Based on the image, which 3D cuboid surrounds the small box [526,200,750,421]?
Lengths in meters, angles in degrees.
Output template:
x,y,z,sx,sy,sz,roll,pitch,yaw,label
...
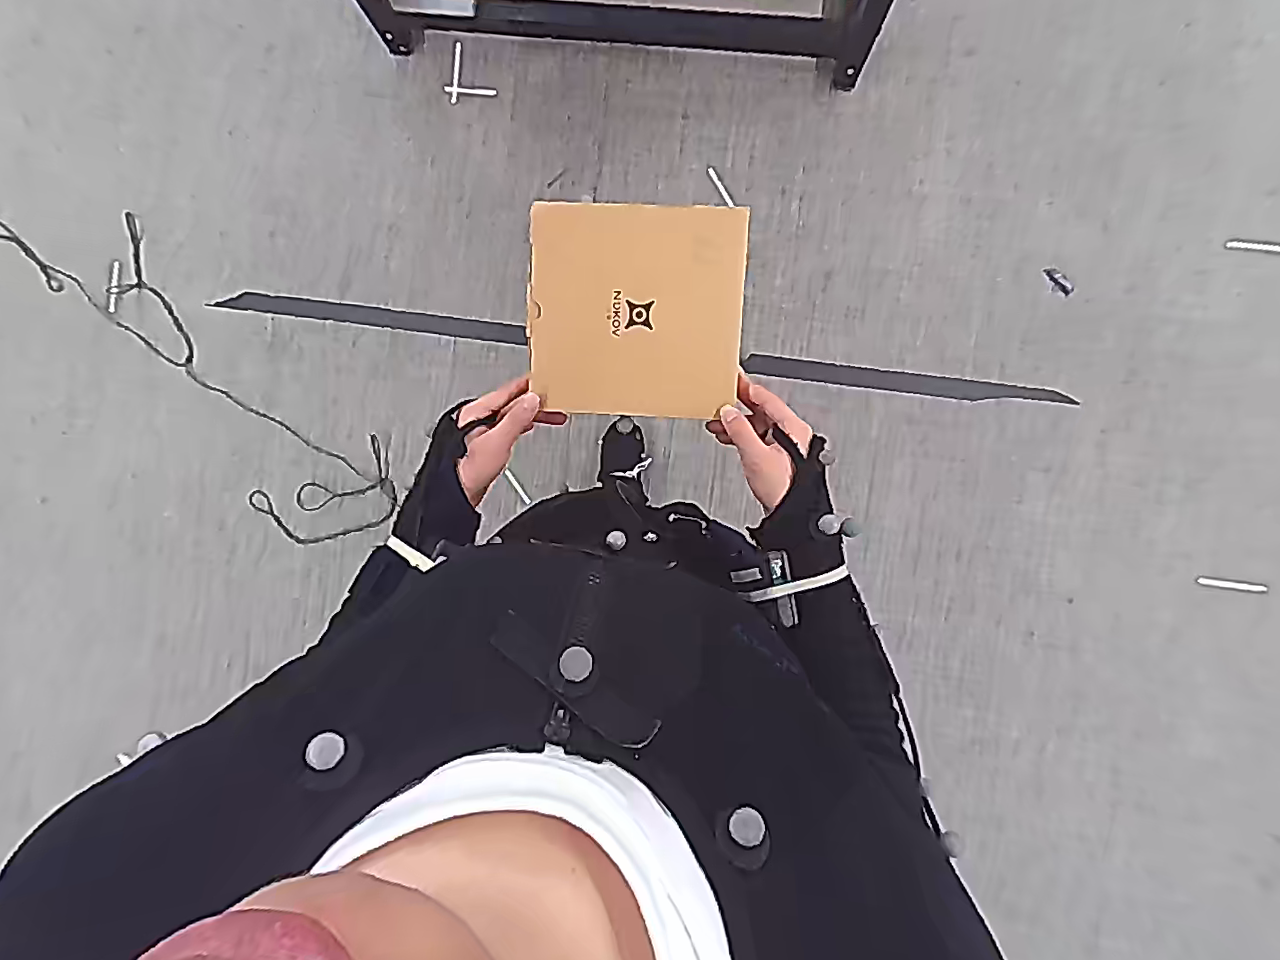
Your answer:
x,y,z,sx,sy,sz,roll,pitch,yaw,label
0.002,-0.148,0.511,0.179,0.176,0.168,4,100,6,small box
